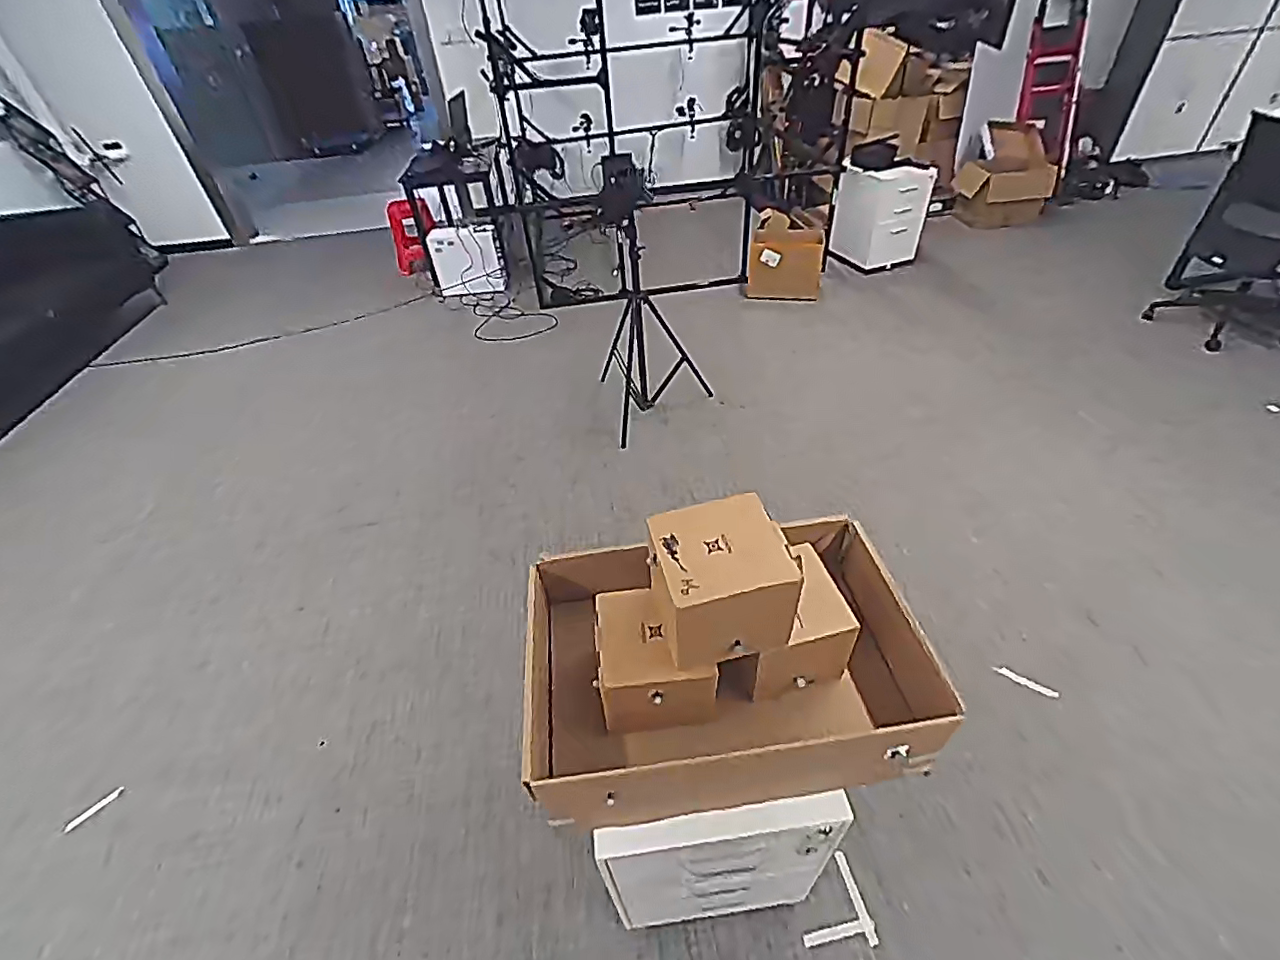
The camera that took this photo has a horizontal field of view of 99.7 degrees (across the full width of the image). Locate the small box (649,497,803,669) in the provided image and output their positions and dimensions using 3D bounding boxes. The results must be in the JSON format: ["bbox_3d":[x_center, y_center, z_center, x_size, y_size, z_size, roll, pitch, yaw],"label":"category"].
[{"bbox_3d":[0.115,0.152,0.801,0.179,0.176,0.168,-11,43,-7],"label":"small box"}]
